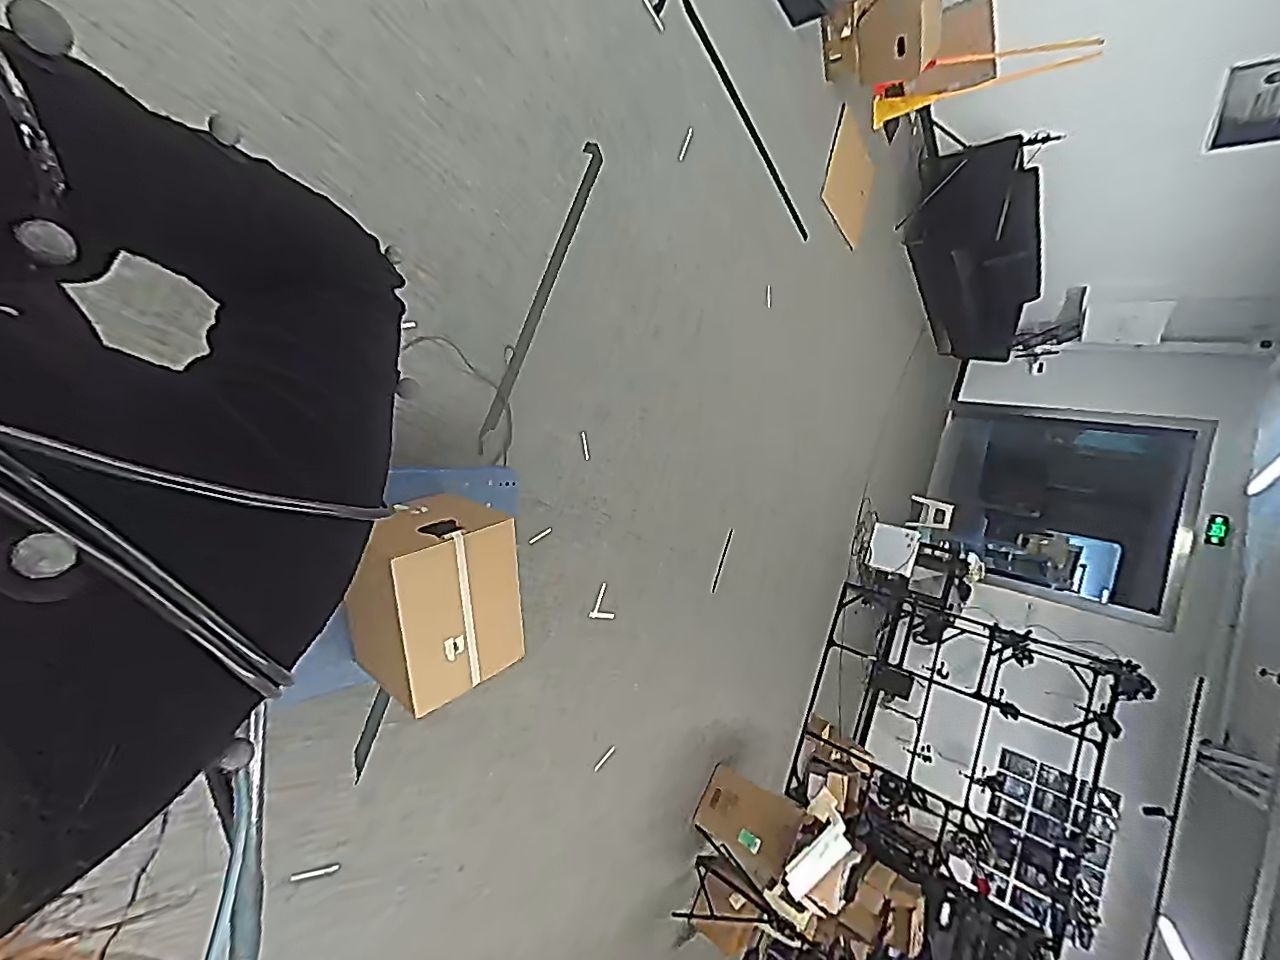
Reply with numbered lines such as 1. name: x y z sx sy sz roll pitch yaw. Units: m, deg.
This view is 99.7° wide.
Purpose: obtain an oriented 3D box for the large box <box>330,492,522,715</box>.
1. large box: -0.527 0.282 1.360 0.320 0.320 0.408 -19 116 -46
